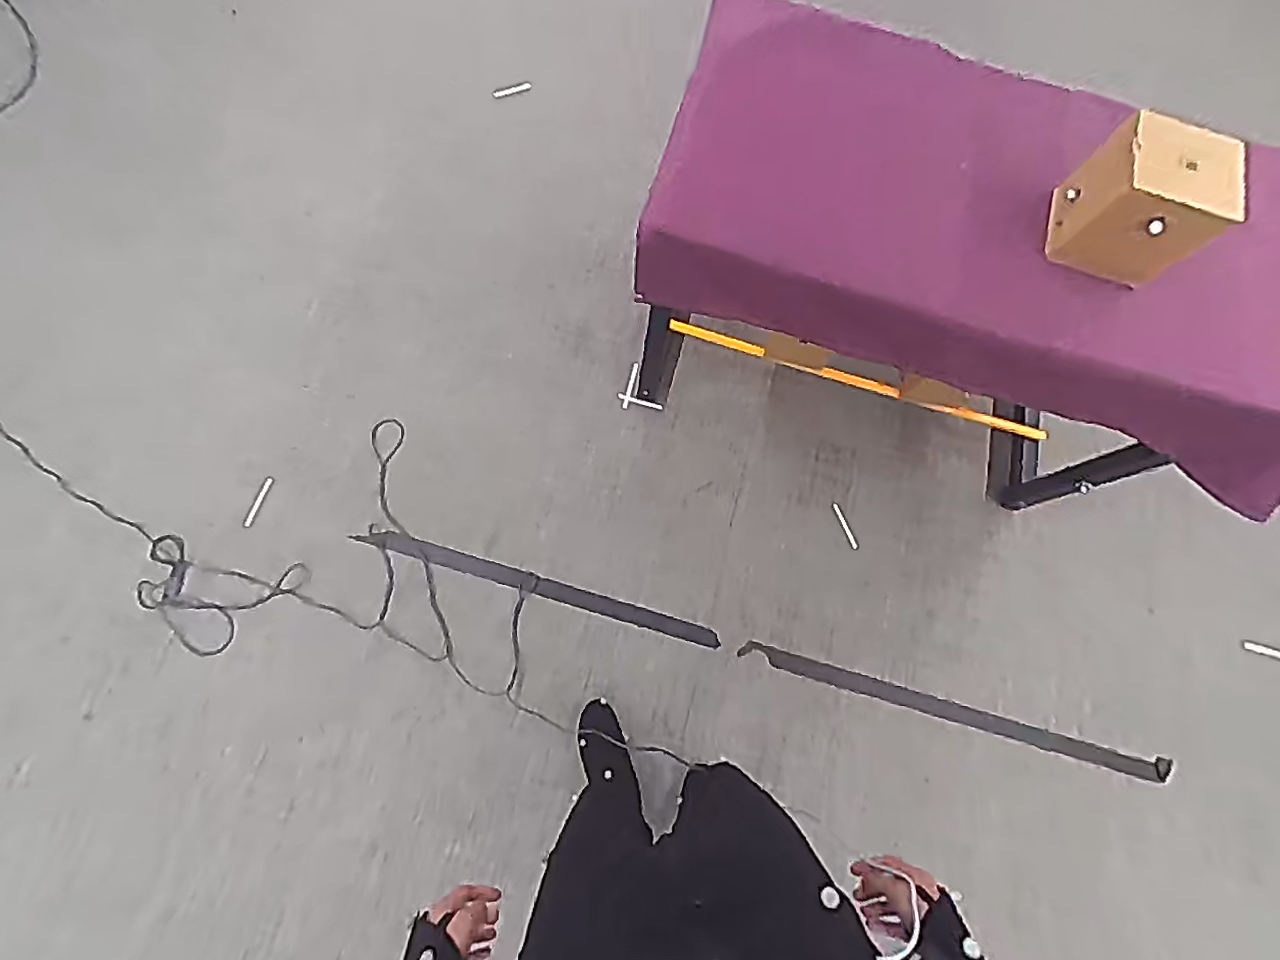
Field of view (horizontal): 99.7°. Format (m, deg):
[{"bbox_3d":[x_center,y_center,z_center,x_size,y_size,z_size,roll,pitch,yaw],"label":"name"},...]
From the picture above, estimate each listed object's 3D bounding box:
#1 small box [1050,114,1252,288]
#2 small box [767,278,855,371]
[{"bbox_3d":[0.838,-0.450,0.898,0.179,0.176,0.168,19,74,2],"label":"small box"},{"bbox_3d":[0.468,-0.425,1.503,0.179,0.176,0.168,15,73,-2],"label":"small box"}]
